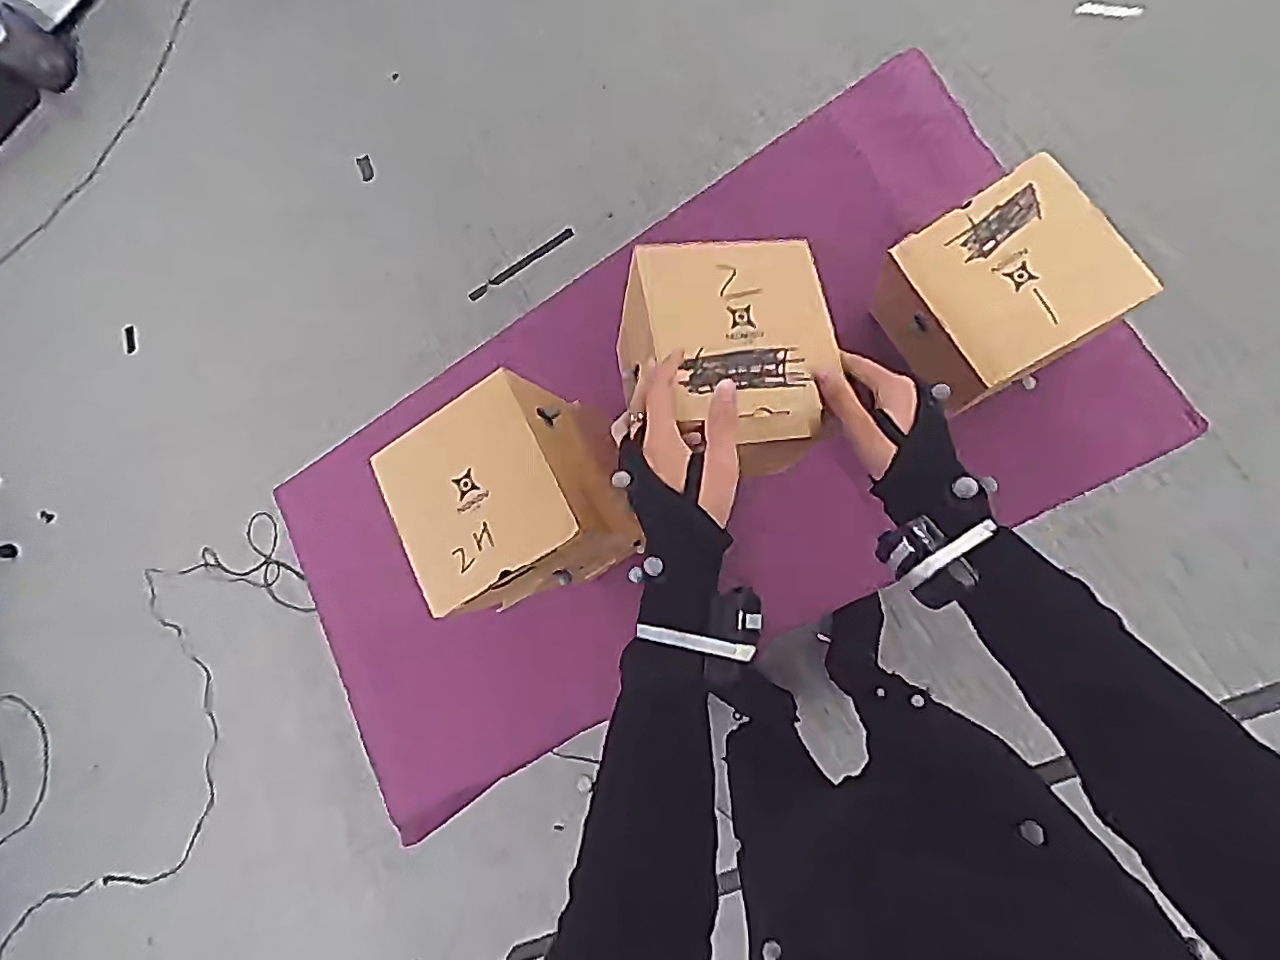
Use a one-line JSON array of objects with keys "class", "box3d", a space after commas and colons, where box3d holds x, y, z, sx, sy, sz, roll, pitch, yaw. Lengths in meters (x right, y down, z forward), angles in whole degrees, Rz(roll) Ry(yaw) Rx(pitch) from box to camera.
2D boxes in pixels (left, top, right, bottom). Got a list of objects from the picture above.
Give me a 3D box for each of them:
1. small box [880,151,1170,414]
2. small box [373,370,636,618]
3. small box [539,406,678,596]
[{"class": "small box", "box3d": [0.387, -0.195, 0.590, 0.168, 0.176, 0.179, -32, 77, 13]}, {"class": "small box", "box3d": [-0.128, 0.020, 0.561, 0.168, 0.176, 0.179, -31, 77, 12]}, {"class": "small box", "box3d": [-0.070, 0.030, 0.715, 0.168, 0.176, 0.179, -33, 76, 11]}]
